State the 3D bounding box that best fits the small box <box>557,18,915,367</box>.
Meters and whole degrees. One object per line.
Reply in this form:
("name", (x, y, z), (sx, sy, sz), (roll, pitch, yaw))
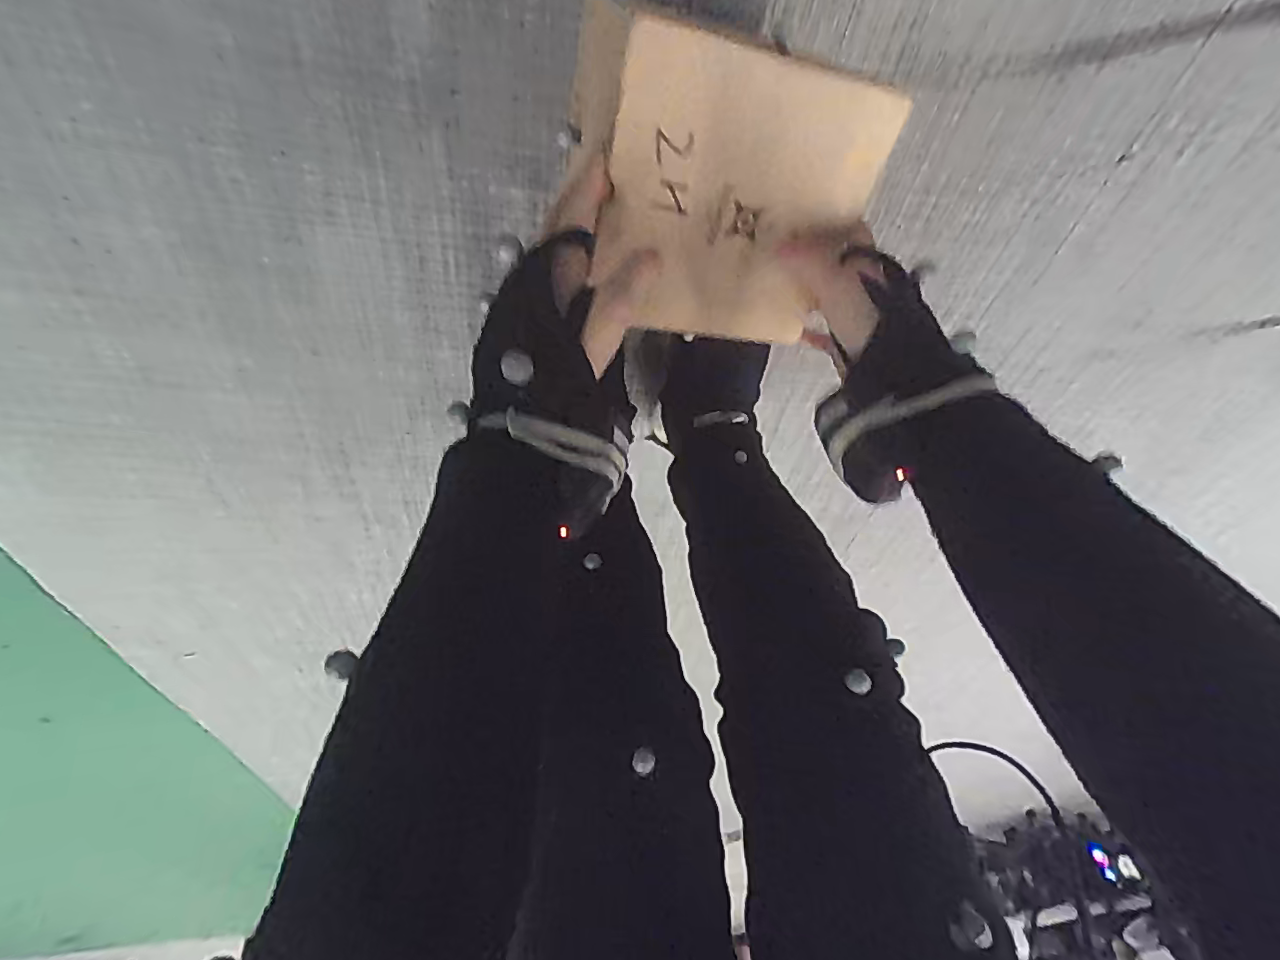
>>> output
("small box", (0.045, -0.205, 0.395), (0.179, 0.176, 0.168), (3, 133, -19))
